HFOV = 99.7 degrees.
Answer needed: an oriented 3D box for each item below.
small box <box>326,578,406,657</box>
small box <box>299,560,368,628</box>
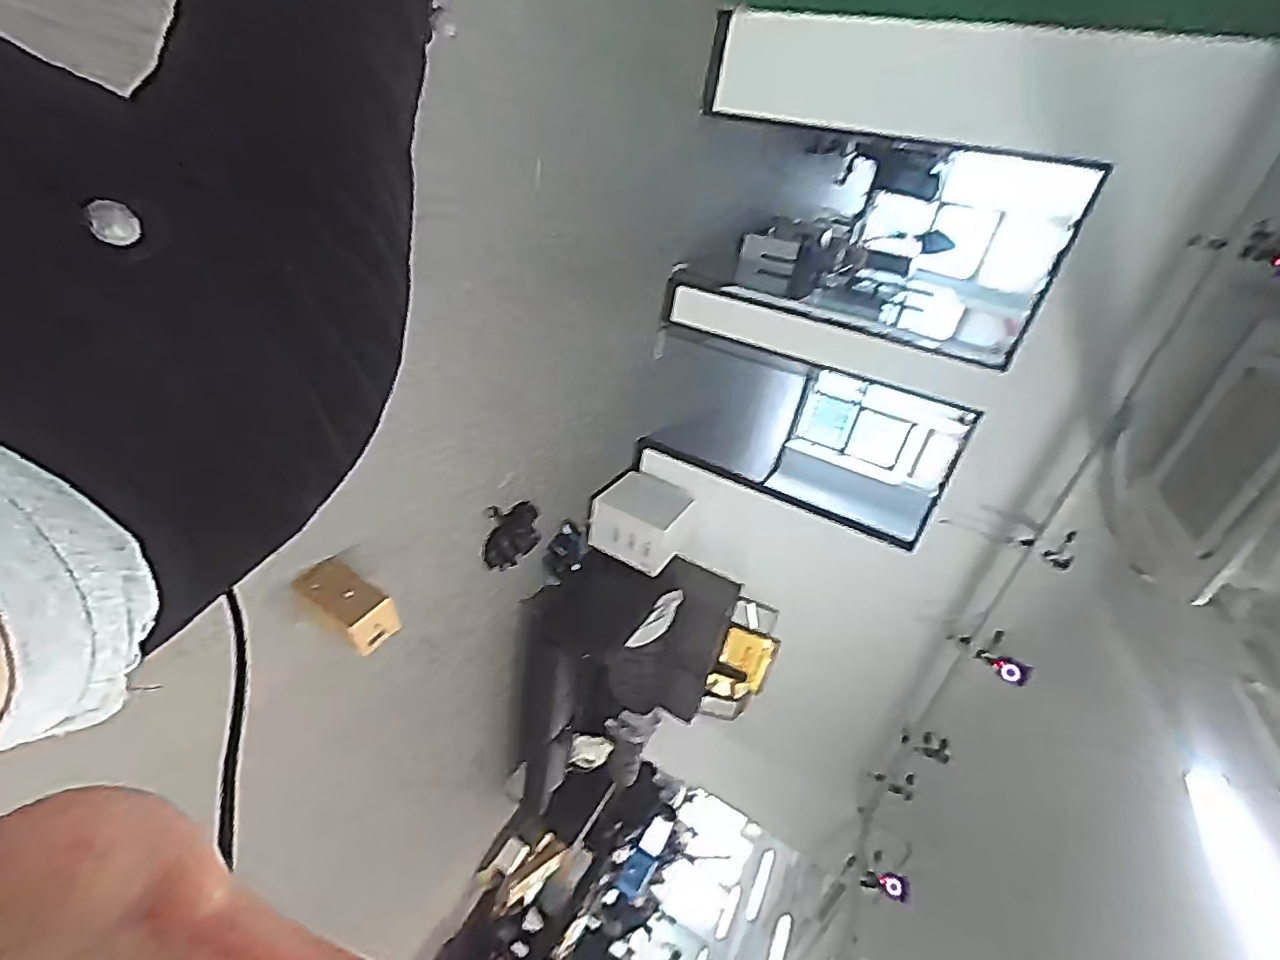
[{"bbox_3d":[-0.968,0.481,1.910,0.168,0.176,0.179,-44,149,-43],"label":"small box"},{"bbox_3d":[-1.104,0.418,1.977,0.168,0.176,0.179,-45,151,-42],"label":"small box"}]
